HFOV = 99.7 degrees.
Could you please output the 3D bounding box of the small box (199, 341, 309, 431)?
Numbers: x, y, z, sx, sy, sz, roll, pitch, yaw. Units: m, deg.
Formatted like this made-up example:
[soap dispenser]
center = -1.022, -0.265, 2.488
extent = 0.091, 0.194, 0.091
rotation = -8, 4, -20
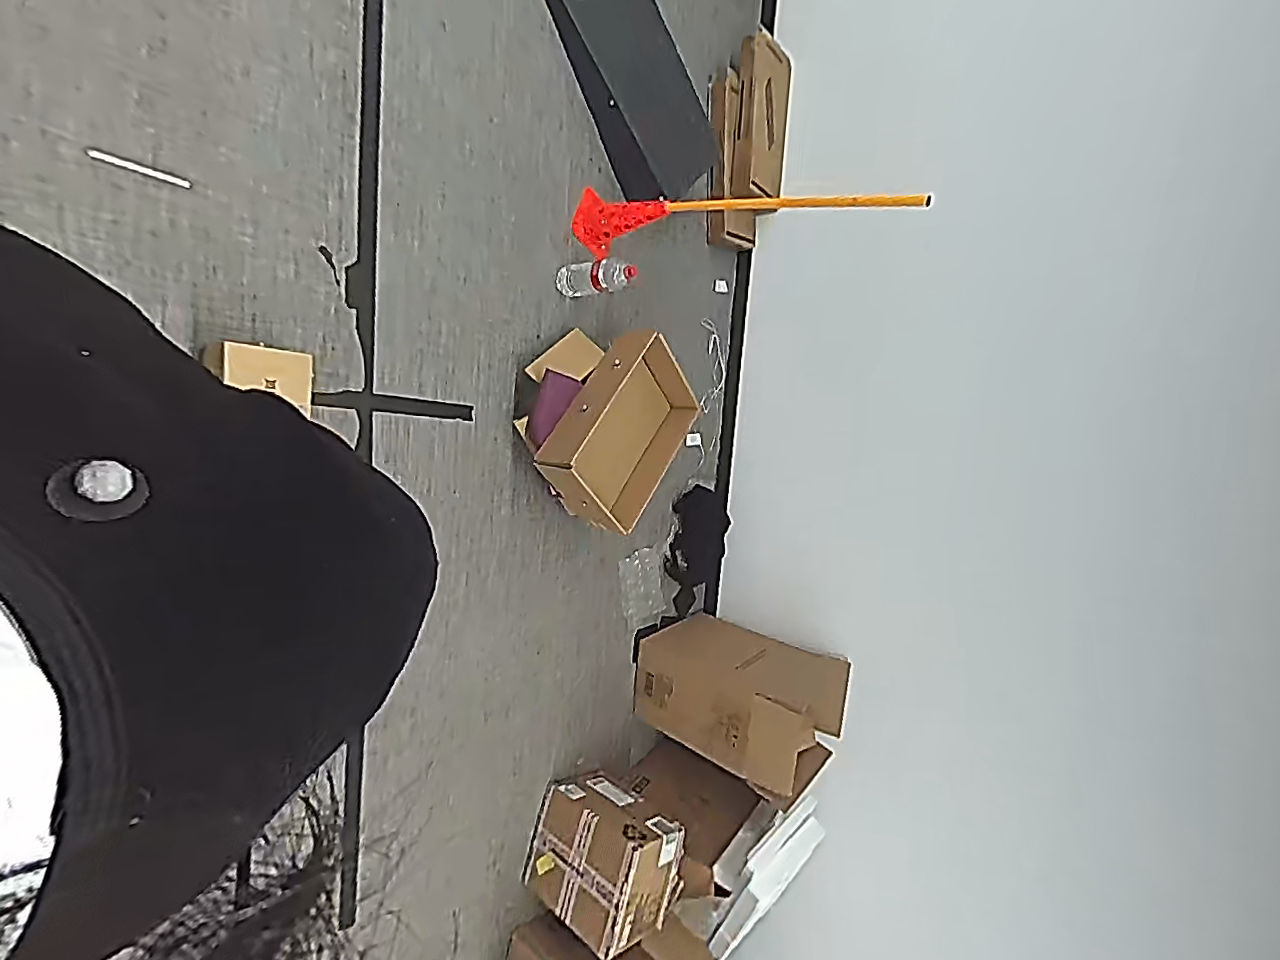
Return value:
[small box]
center = -0.874, -0.208, 1.221
extent = 0.168, 0.176, 0.179
rotation = 0, 98, -50
